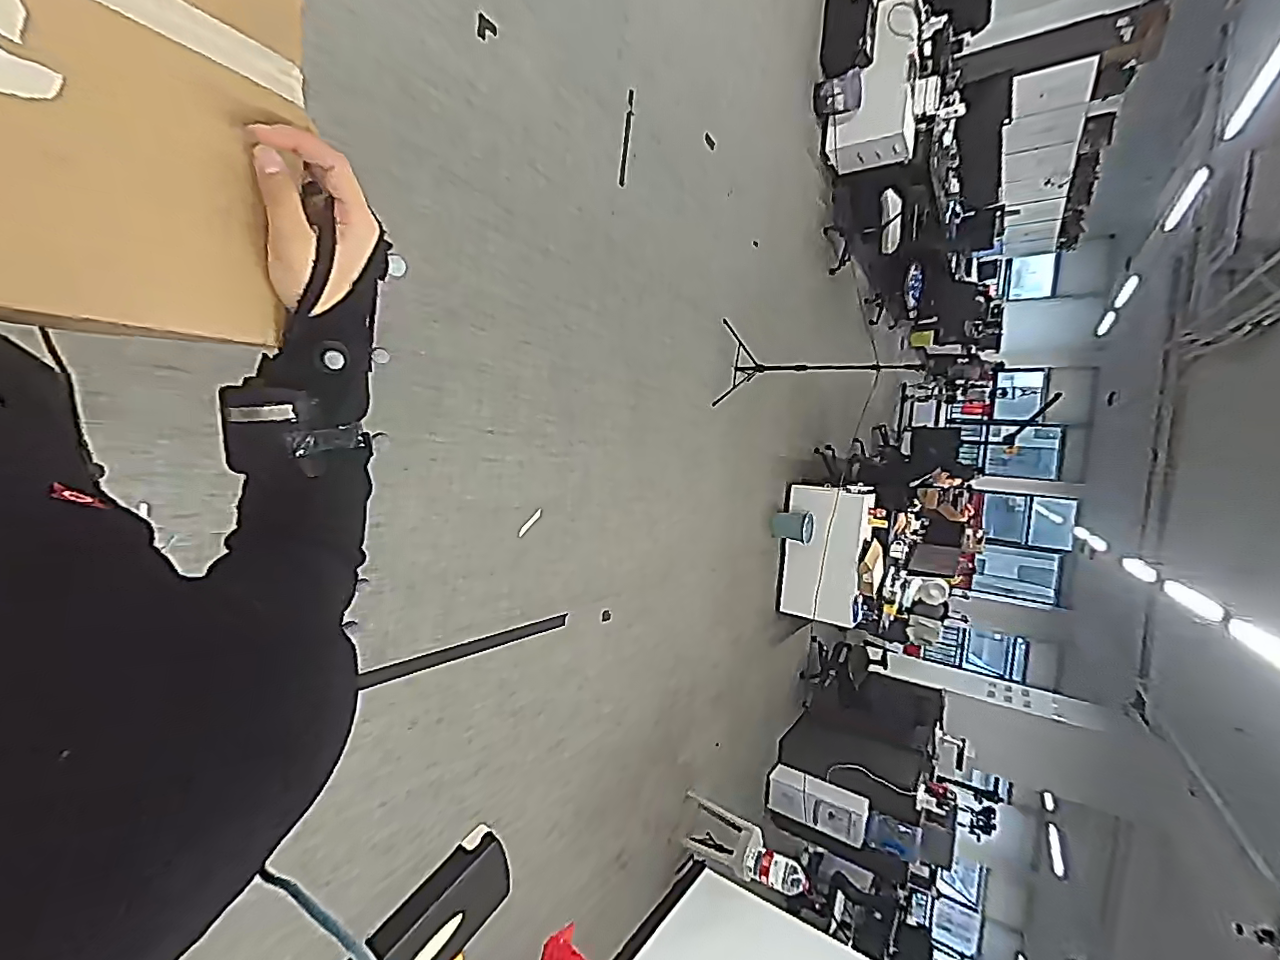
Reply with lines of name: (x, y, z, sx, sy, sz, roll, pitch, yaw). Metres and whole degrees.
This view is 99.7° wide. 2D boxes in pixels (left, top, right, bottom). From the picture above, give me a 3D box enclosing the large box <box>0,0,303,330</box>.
large box: (-0.446, -0.260, 0.244, 0.408, 0.320, 0.320, -6, 106, -60)
